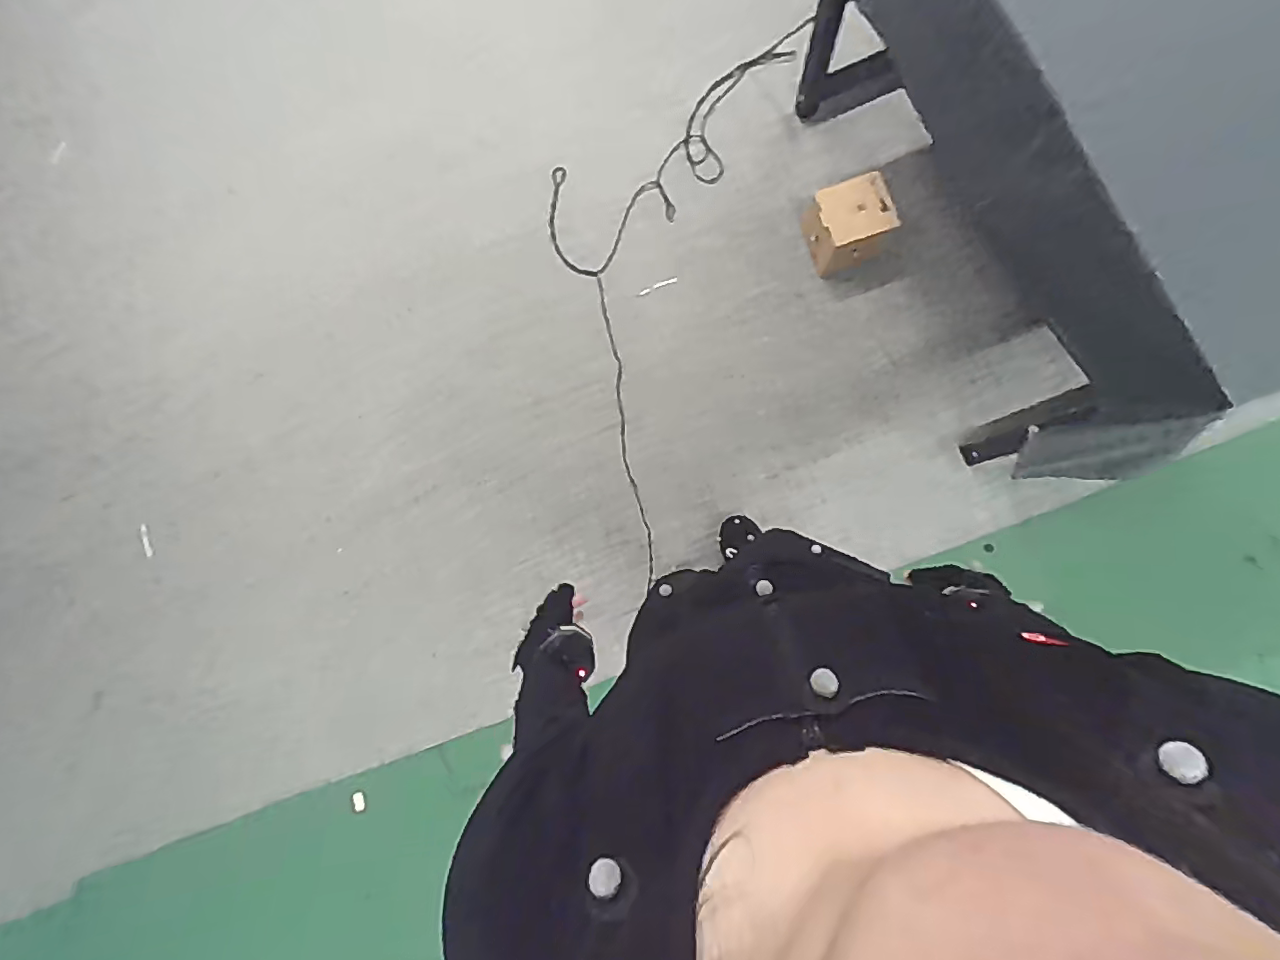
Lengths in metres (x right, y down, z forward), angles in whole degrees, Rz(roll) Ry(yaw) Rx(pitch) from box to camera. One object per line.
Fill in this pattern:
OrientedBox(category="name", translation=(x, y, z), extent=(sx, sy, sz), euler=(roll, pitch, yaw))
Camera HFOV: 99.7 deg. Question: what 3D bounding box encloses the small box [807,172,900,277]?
OrientedBox(category="small box", translation=(0.565, -0.682, 1.465), extent=(0.179, 0.176, 0.168), euler=(-18, 82, 3))
